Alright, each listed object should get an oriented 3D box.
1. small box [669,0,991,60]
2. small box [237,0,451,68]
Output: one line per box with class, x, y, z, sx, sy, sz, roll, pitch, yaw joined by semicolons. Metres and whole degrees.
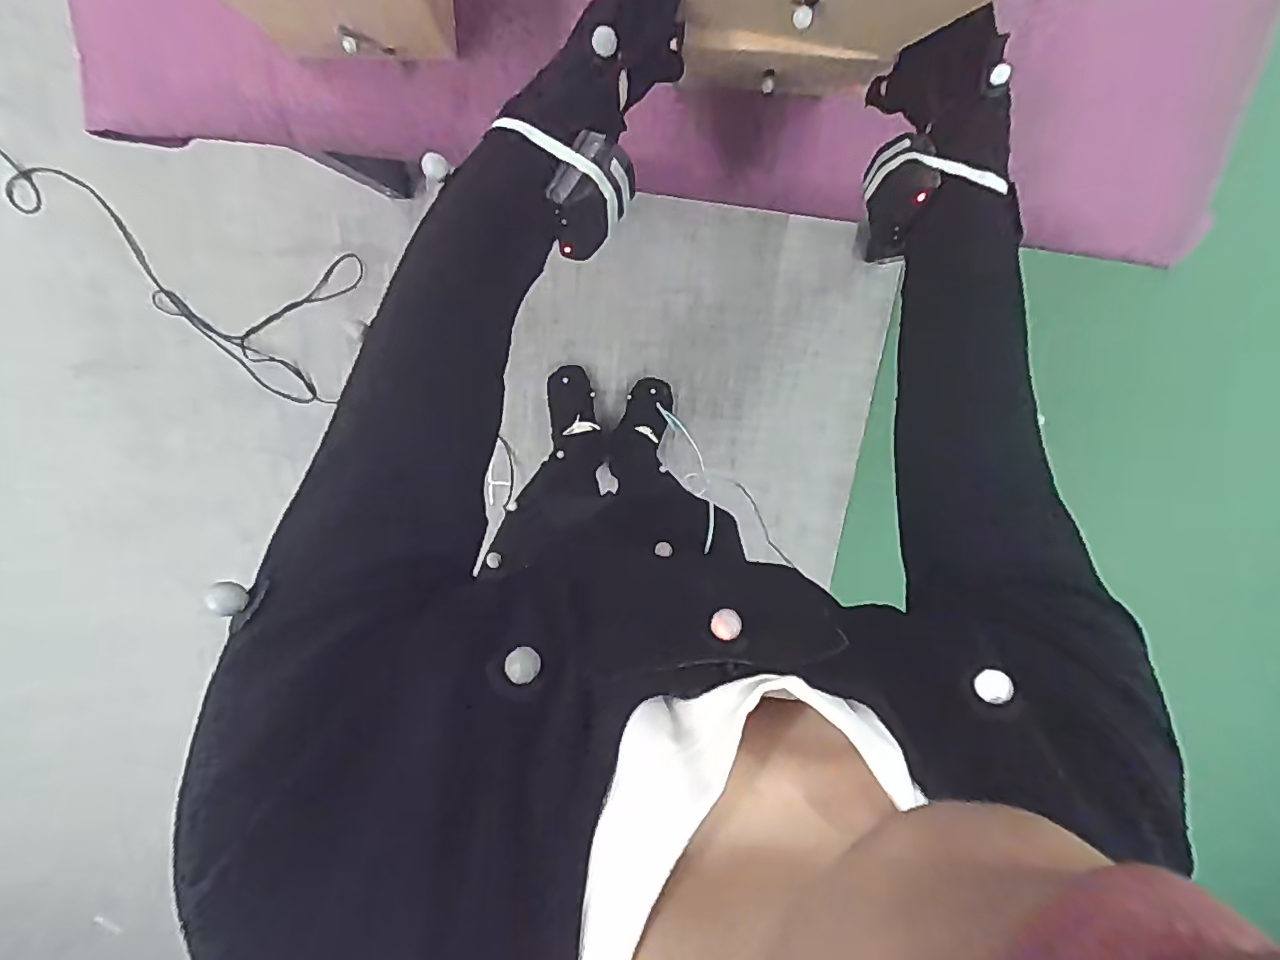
small box;0.118;-0.376;0.320;0.179;0.176;0.168;7;116;-4
small box;-0.263;-0.480;0.442;0.168;0.176;0.179;-1;107;-4
